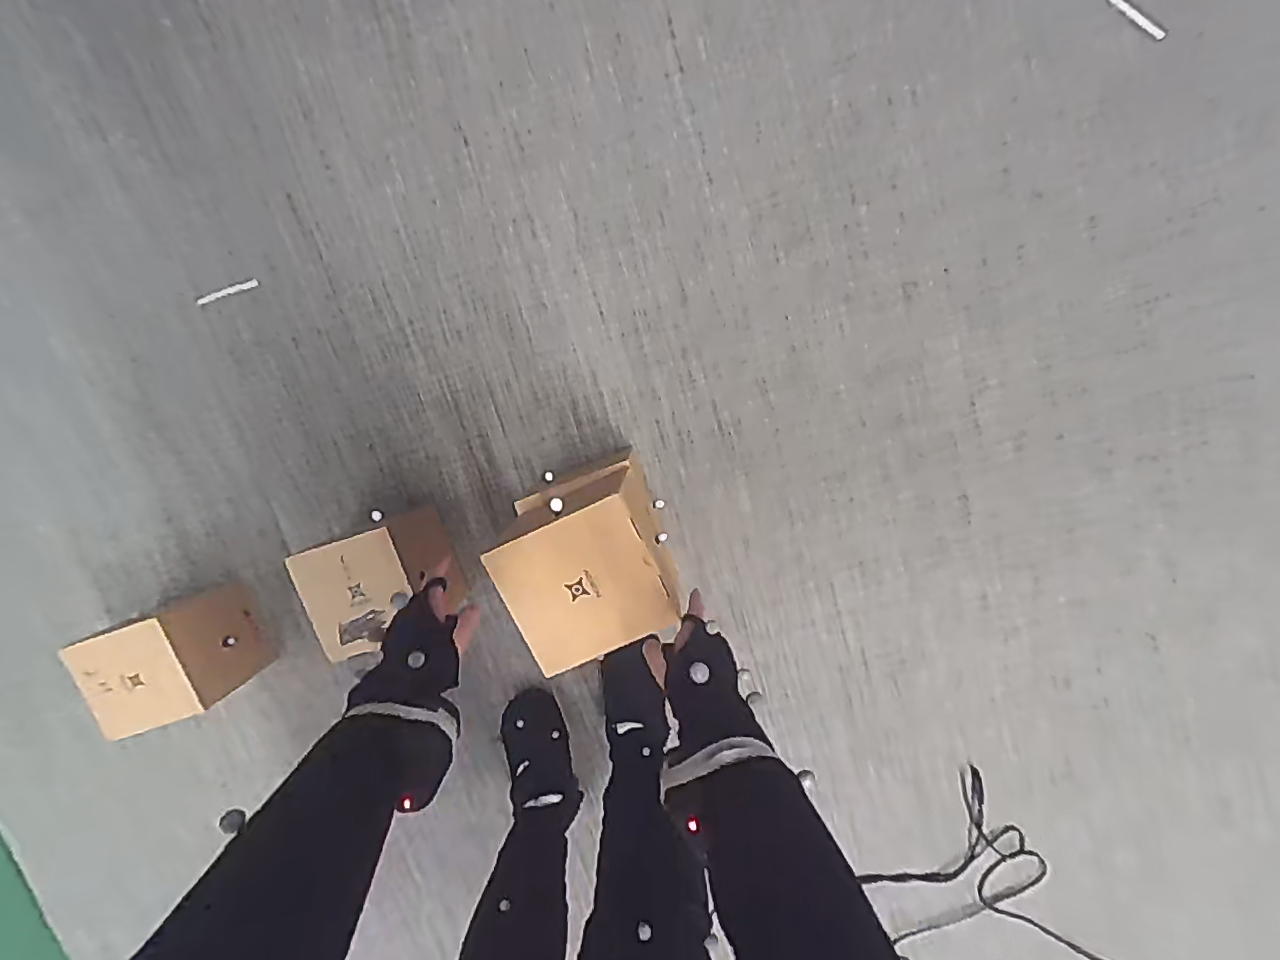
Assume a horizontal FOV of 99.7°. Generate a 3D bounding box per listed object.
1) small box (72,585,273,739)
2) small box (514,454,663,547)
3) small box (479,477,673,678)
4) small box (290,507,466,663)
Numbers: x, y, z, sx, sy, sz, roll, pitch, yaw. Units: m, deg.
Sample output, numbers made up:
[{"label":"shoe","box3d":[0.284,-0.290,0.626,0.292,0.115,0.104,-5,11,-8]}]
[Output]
[{"label":"small box","box3d":[-0.771,0.297,0.919,0.179,0.176,0.168,-18,98,6]},{"label":"small box","box3d":[-0.068,0.069,0.846,0.179,0.176,0.168,-20,99,6]},{"label":"small box","box3d":[-0.068,0.112,0.689,0.179,0.176,0.168,-25,98,6]},{"label":"small box","box3d":[-0.409,0.161,0.877,0.168,0.176,0.179,-17,98,6]}]
